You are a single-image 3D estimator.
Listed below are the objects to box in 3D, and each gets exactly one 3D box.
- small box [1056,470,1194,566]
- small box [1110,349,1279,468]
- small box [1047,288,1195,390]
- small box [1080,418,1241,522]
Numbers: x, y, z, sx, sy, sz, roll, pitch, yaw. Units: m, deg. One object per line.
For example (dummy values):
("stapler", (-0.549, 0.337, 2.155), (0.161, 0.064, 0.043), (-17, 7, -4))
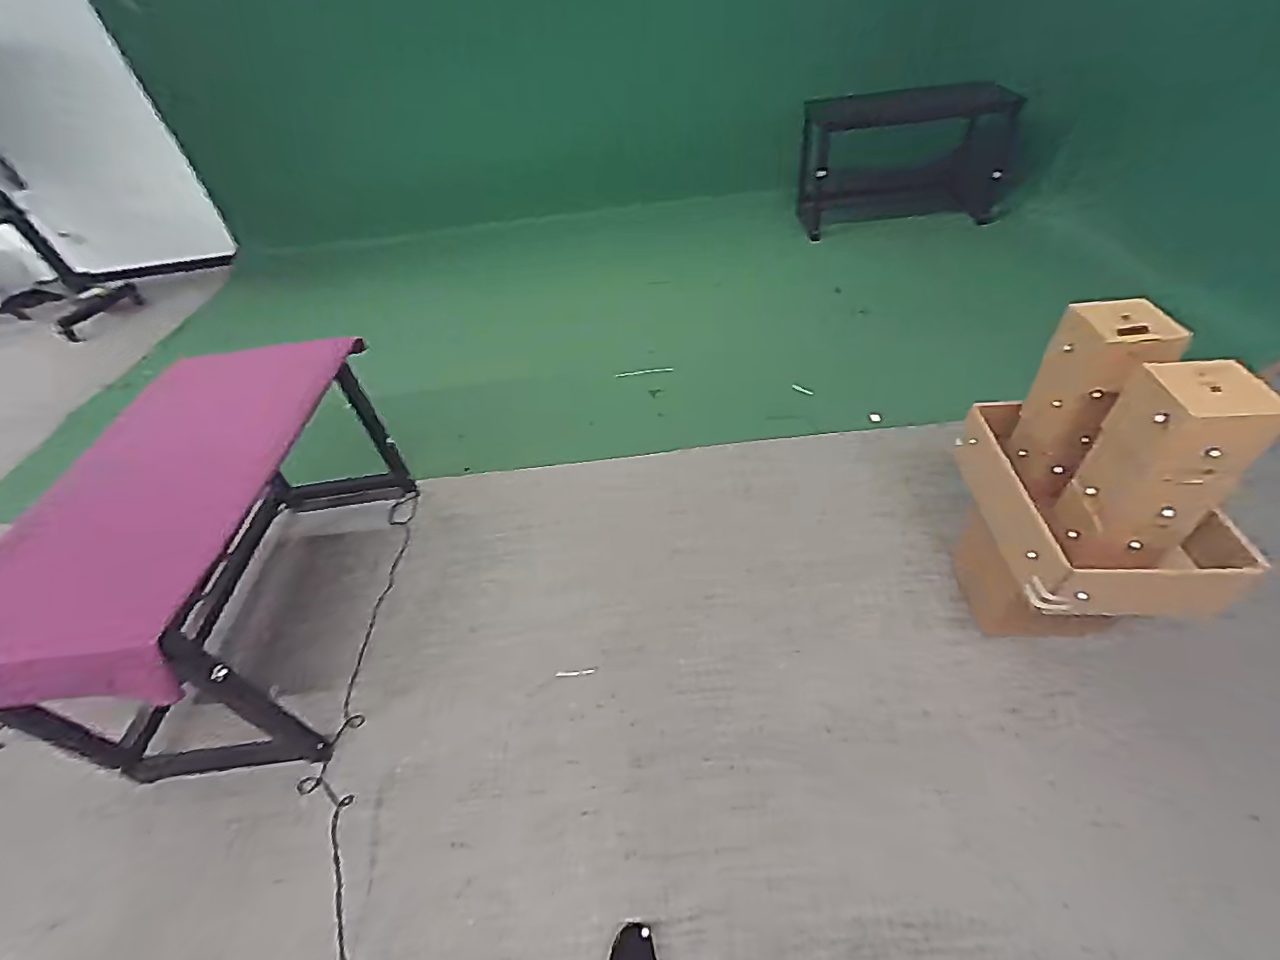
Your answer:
("small box", (1.144, 0.092, 1.299), (0.179, 0.176, 0.168), (1, 47, 12))
("small box", (1.094, -0.136, 1.068), (0.168, 0.176, 0.179), (-1, 46, 9))
("small box", (1.097, -0.321, 1.252), (0.168, 0.176, 0.179), (-2, 45, 8))
("small box", (1.122, -0.022, 1.185), (0.168, 0.176, 0.179), (0, 47, 11))
